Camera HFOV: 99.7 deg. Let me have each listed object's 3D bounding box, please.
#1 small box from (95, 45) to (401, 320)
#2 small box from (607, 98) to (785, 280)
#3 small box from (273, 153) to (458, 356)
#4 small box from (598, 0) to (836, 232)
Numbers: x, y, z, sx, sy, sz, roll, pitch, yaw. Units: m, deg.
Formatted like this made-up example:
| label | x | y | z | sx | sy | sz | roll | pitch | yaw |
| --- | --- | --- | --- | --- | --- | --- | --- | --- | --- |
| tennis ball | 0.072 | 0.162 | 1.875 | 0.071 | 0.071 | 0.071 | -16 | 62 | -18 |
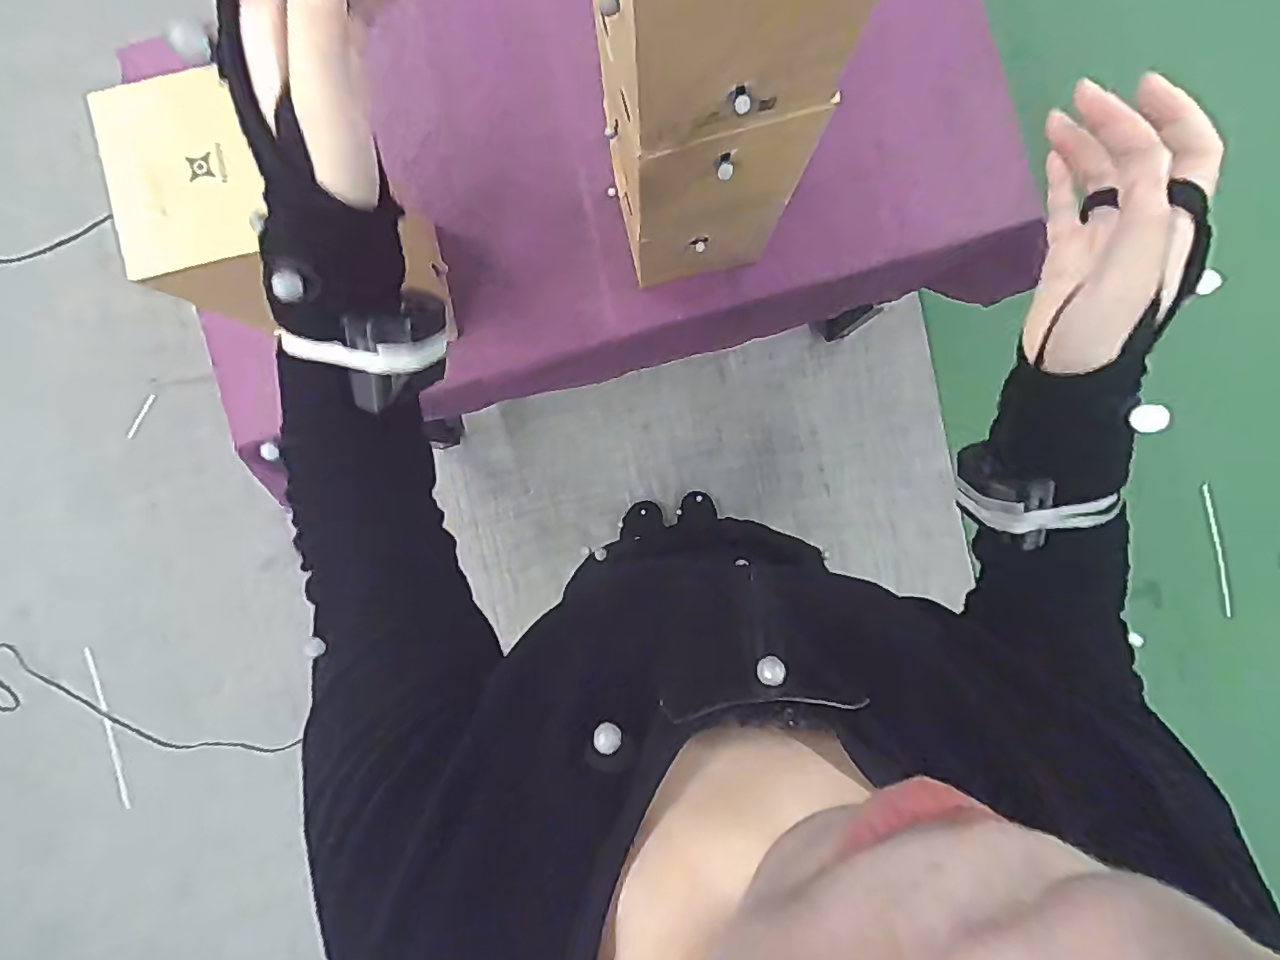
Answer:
| label | x | y | z | sx | sy | sz | roll | pitch | yaw |
| --- | --- | --- | --- | --- | --- | --- | --- | --- | --- |
| small box | -0.363 | -0.275 | 0.542 | 0.179 | 0.176 | 0.168 | -12 | 91 | 2 |
| small box | 0.065 | -0.375 | 0.690 | 0.179 | 0.176 | 0.168 | -13 | 91 | 1 |
| small box | -0.359 | -0.278 | 0.705 | 0.168 | 0.176 | 0.179 | -12 | 90 | 3 |
| small box | 0.064 | -0.372 | 0.526 | 0.179 | 0.176 | 0.168 | -14 | 91 | 3 |
